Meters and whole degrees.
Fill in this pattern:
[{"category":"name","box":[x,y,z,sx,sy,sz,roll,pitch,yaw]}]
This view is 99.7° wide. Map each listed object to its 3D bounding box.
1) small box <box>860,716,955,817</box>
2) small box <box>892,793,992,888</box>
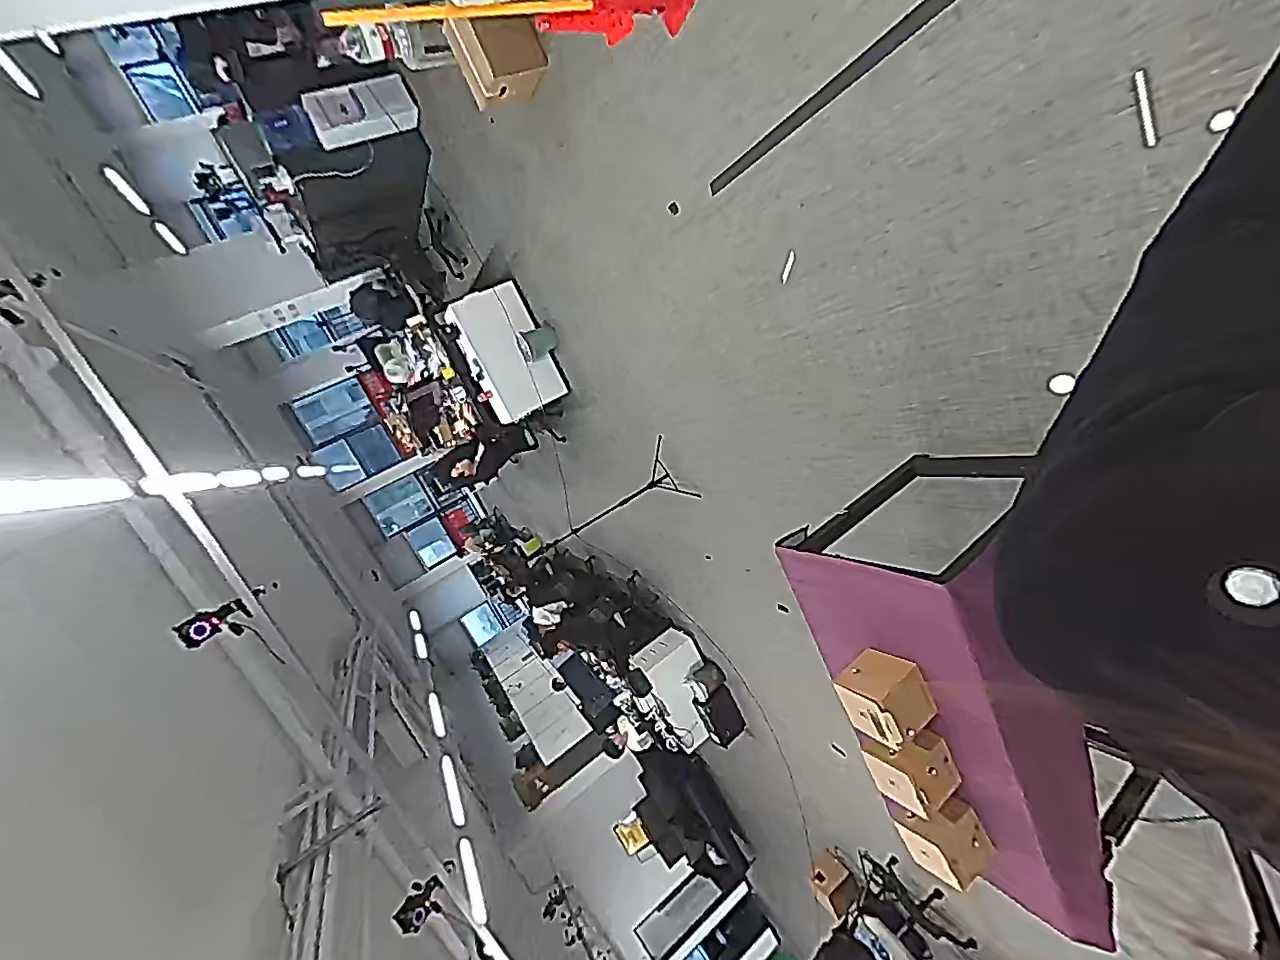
[{"category":"small box","box":[0.801,0.840,1.608,0.168,0.176,0.179,64,158,-11]},{"category":"small box","box":[0.922,1.077,1.655,0.168,0.176,0.179,60,158,-5]}]
